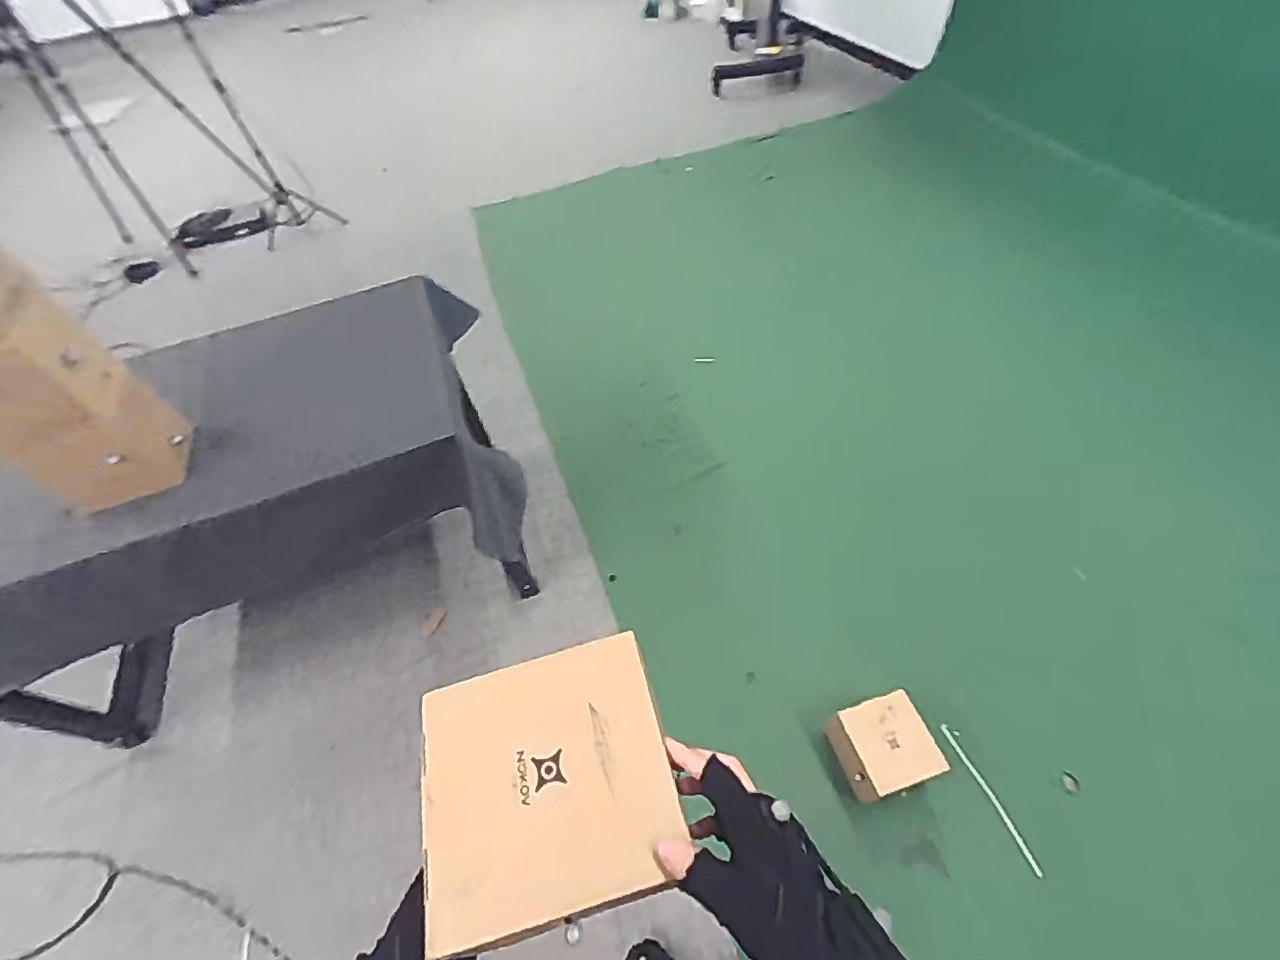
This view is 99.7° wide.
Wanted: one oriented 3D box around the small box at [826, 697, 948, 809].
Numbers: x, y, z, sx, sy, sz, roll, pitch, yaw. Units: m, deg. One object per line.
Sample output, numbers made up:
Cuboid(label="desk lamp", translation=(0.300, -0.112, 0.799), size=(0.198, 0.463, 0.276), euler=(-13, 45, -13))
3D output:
Cuboid(label="small box", translation=(0.545, 0.622, 1.220), size=(0.168, 0.176, 0.179), euler=(-16, 52, -7))
